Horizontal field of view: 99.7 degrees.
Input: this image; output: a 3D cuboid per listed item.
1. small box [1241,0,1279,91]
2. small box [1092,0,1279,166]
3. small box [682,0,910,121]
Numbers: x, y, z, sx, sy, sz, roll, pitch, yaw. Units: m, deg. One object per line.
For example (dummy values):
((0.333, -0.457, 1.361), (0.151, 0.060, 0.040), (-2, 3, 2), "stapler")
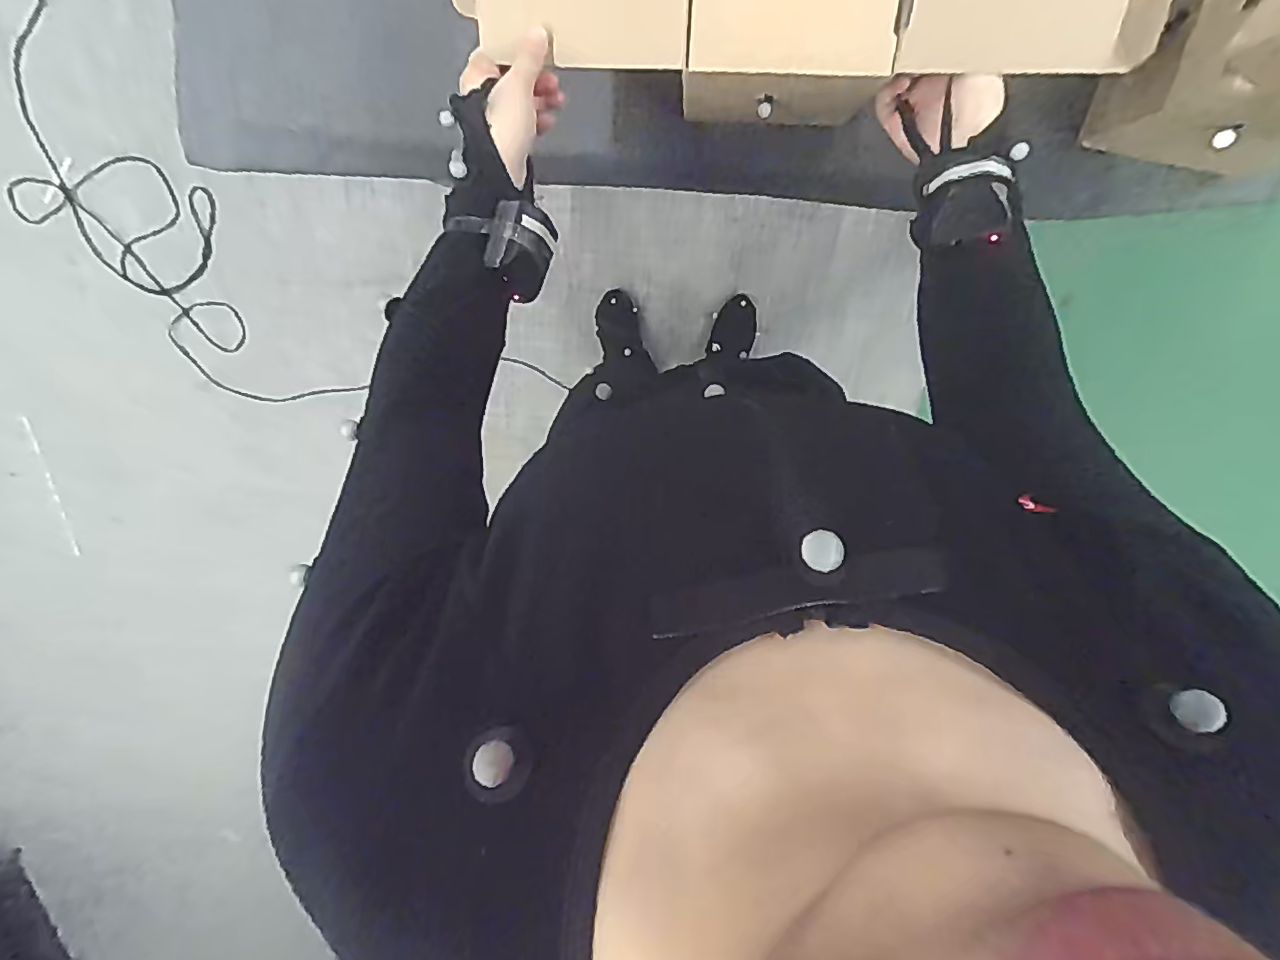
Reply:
((0.558, -0.327, 0.326), (0.179, 0.176, 0.168), (30, 107, -8), "small box")
((0.564, -0.396, 0.475), (0.179, 0.176, 0.168), (11, 109, 0), "small box")
((0.132, -0.439, 0.485), (0.179, 0.176, 0.168), (4, 112, 5), "small box")
